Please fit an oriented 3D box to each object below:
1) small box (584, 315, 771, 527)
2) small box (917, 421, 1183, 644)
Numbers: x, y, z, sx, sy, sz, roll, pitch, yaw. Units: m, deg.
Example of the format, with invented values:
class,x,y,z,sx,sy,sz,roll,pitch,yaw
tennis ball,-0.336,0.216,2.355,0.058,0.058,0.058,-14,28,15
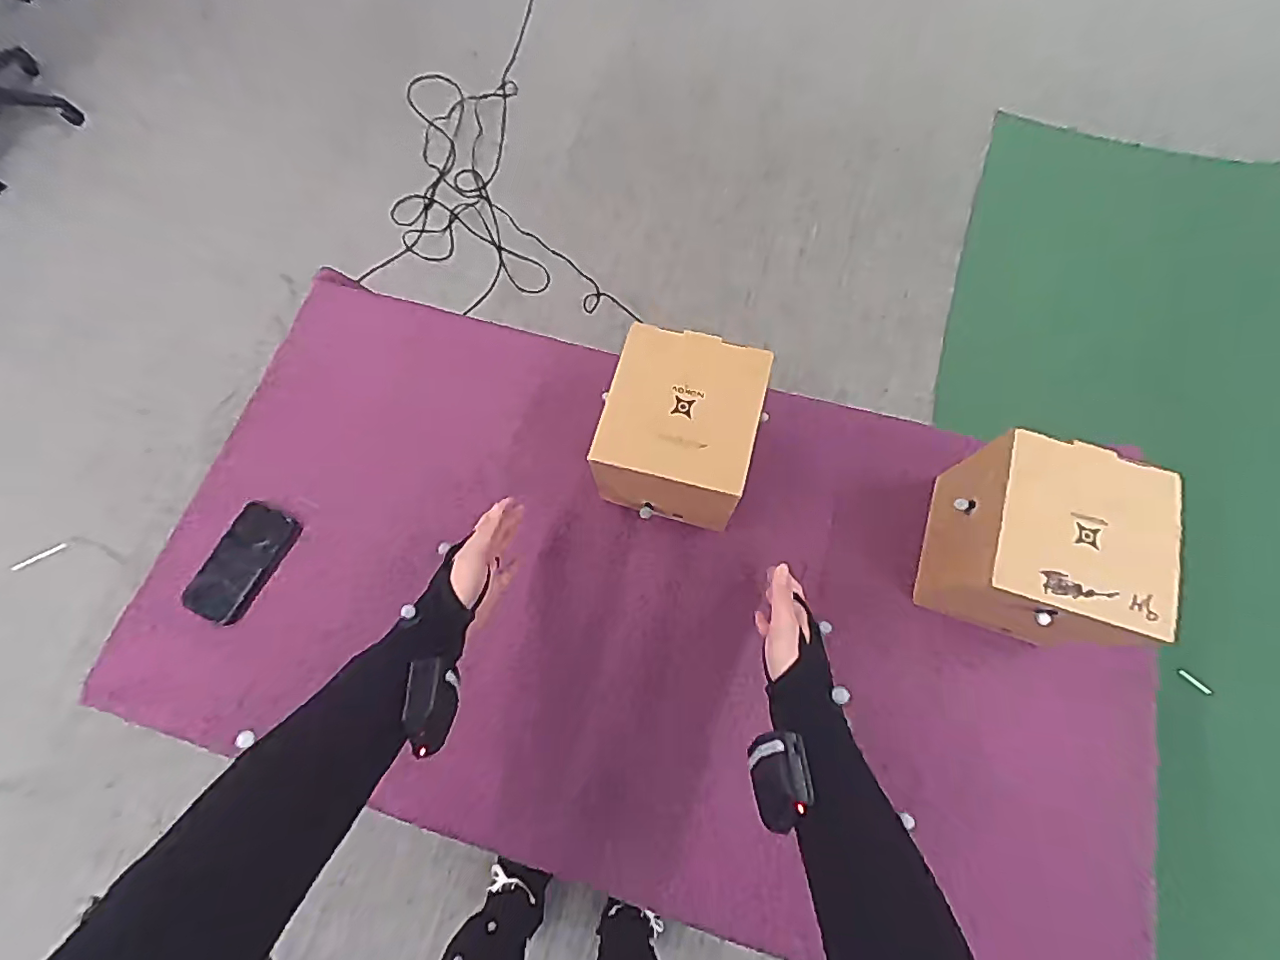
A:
class,x,y,z,sx,sy,sz,roll,pitch,yaw
small box,0.044,-0.061,0.646,0.168,0.176,0.179,14,73,7
small box,0.431,0.067,0.593,0.168,0.176,0.179,18,72,8
